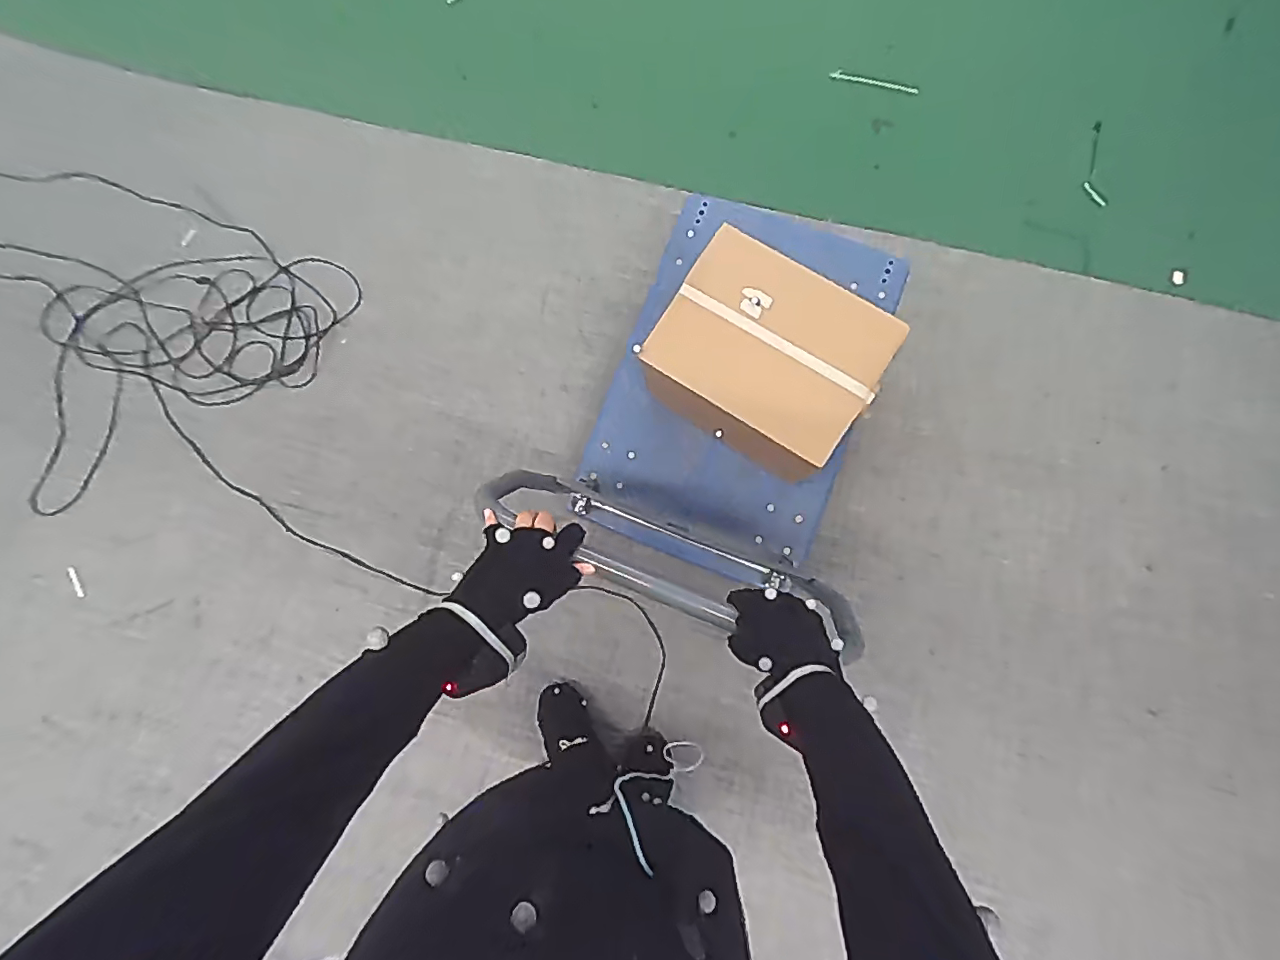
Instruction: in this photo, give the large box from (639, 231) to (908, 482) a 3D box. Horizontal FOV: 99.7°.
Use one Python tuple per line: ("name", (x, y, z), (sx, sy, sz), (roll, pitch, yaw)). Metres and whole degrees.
("large box", (0.261, -0.234, 1.150), (0.408, 0.320, 0.320), (33, 88, 9))
